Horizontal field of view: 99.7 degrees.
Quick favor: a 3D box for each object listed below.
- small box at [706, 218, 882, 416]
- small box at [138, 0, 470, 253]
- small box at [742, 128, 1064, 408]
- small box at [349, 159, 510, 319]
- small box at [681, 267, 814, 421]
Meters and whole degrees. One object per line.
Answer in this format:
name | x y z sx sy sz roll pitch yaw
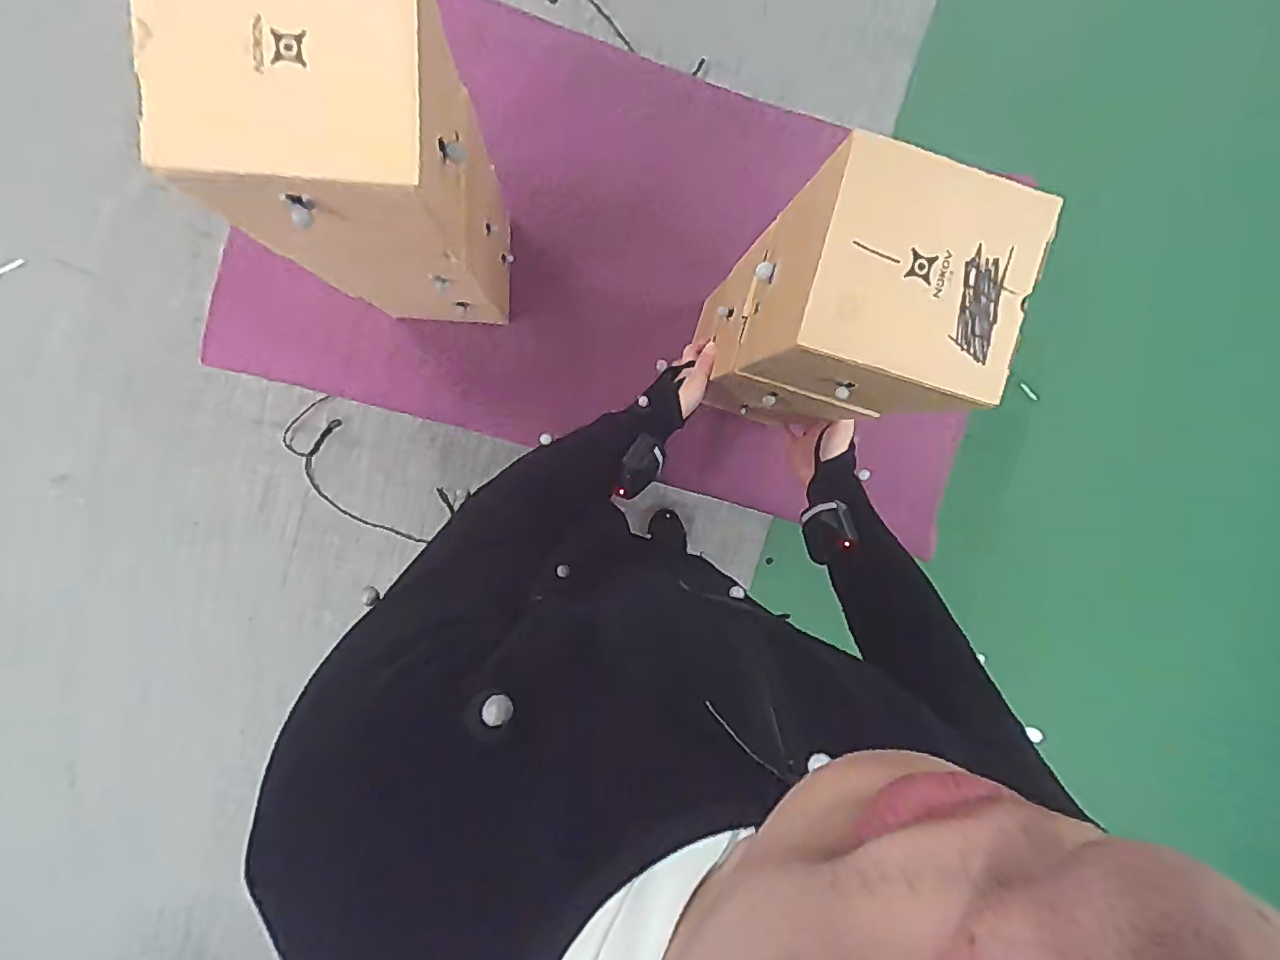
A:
small box | 0.194 -0.178 0.653 0.179 0.176 0.168 16 93 -7
small box | -0.234 -0.290 0.425 0.179 0.176 0.168 0 95 -7
small box | 0.215 -0.166 0.490 0.179 0.176 0.168 15 93 -7
small box | -0.277 -0.325 0.747 0.179 0.176 0.168 2 94 -7
small box | 0.174 -0.190 0.815 0.179 0.176 0.168 18 93 -8
